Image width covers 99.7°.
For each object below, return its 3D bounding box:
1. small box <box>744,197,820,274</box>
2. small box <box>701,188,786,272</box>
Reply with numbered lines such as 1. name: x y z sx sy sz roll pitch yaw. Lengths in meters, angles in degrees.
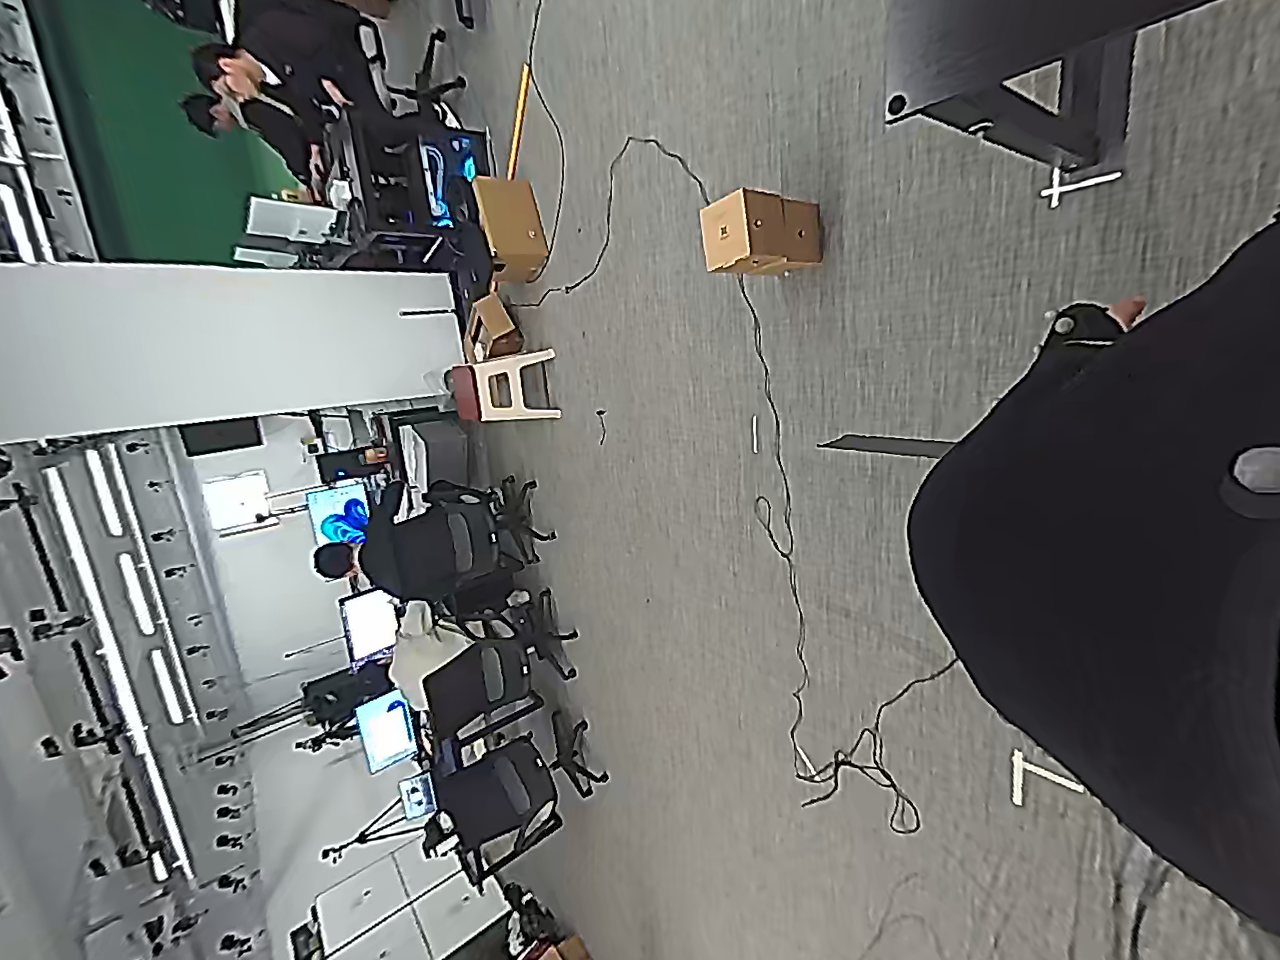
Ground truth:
1. small box: 0.427 -0.733 1.638 0.168 0.176 0.179 6 108 52
2. small box: 0.298 -0.705 1.542 0.168 0.176 0.179 1 102 52
